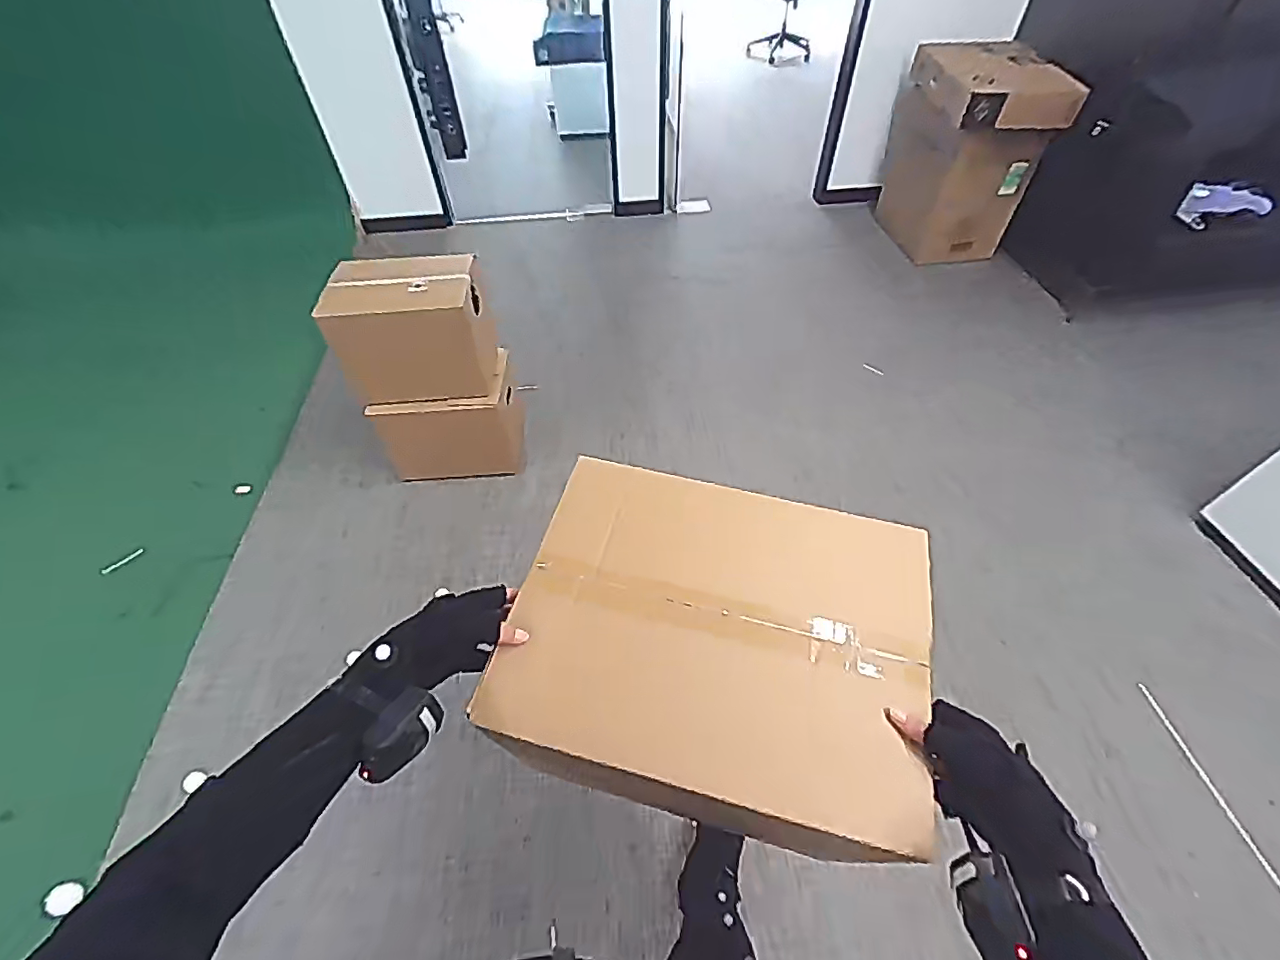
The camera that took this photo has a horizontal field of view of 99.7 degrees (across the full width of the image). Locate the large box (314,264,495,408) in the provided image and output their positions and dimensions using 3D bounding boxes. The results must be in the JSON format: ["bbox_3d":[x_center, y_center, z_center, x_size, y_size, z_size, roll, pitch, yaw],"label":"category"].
[{"bbox_3d":[-0.686,-0.441,1.655,0.408,0.320,0.320,-4,47,-4],"label":"large box"}]
